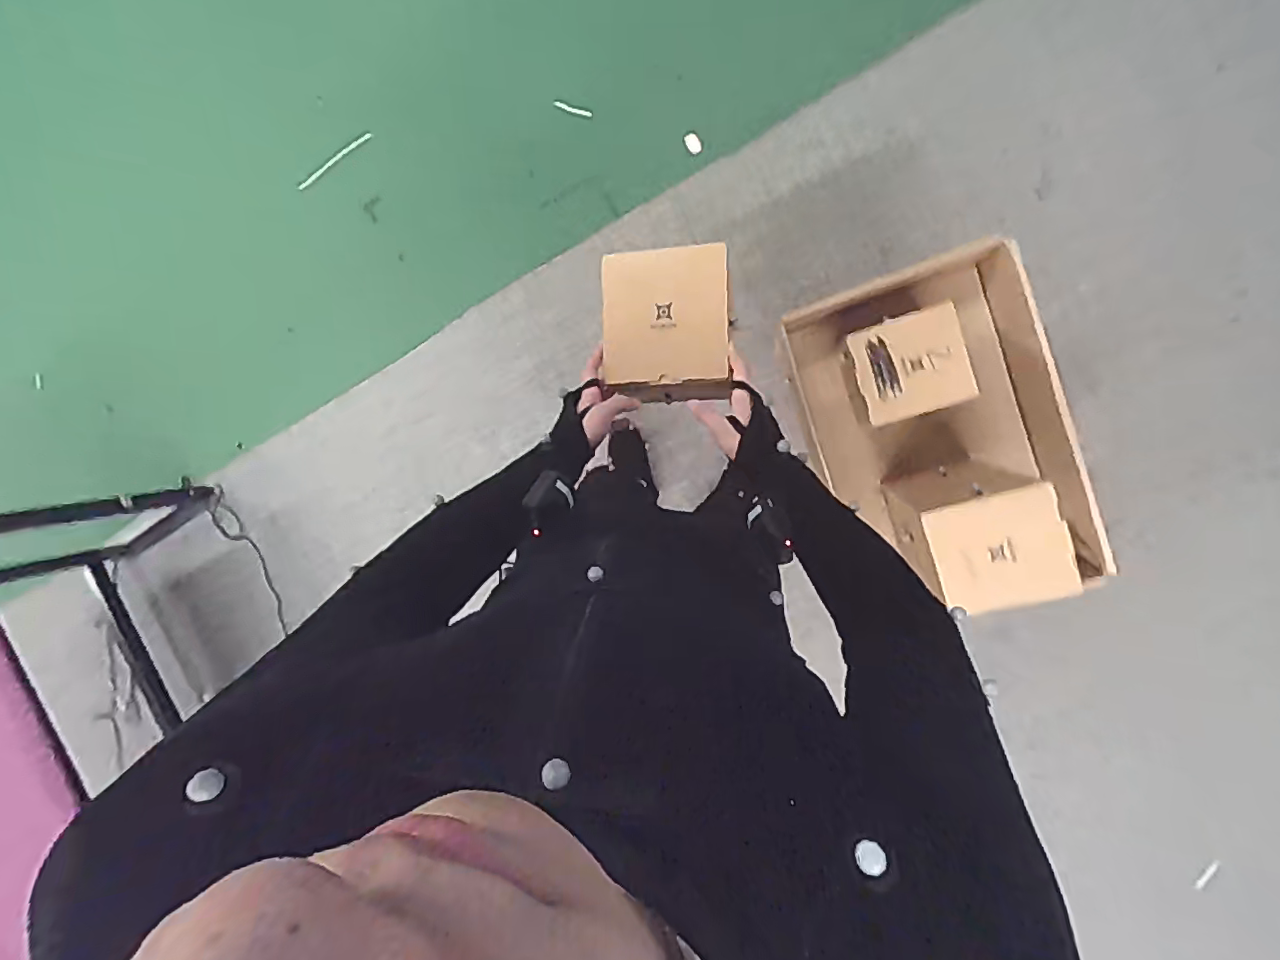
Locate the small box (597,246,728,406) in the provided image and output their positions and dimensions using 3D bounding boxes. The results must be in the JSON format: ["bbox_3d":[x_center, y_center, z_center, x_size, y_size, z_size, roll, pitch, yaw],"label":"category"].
[{"bbox_3d":[0.039,-0.208,0.776,0.168,0.176,0.179,-2,90,11],"label":"small box"}]

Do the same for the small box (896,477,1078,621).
[{"bbox_3d":[0.529,0.099,0.850,0.179,0.176,0.168,-16,92,15],"label":"small box"}]
